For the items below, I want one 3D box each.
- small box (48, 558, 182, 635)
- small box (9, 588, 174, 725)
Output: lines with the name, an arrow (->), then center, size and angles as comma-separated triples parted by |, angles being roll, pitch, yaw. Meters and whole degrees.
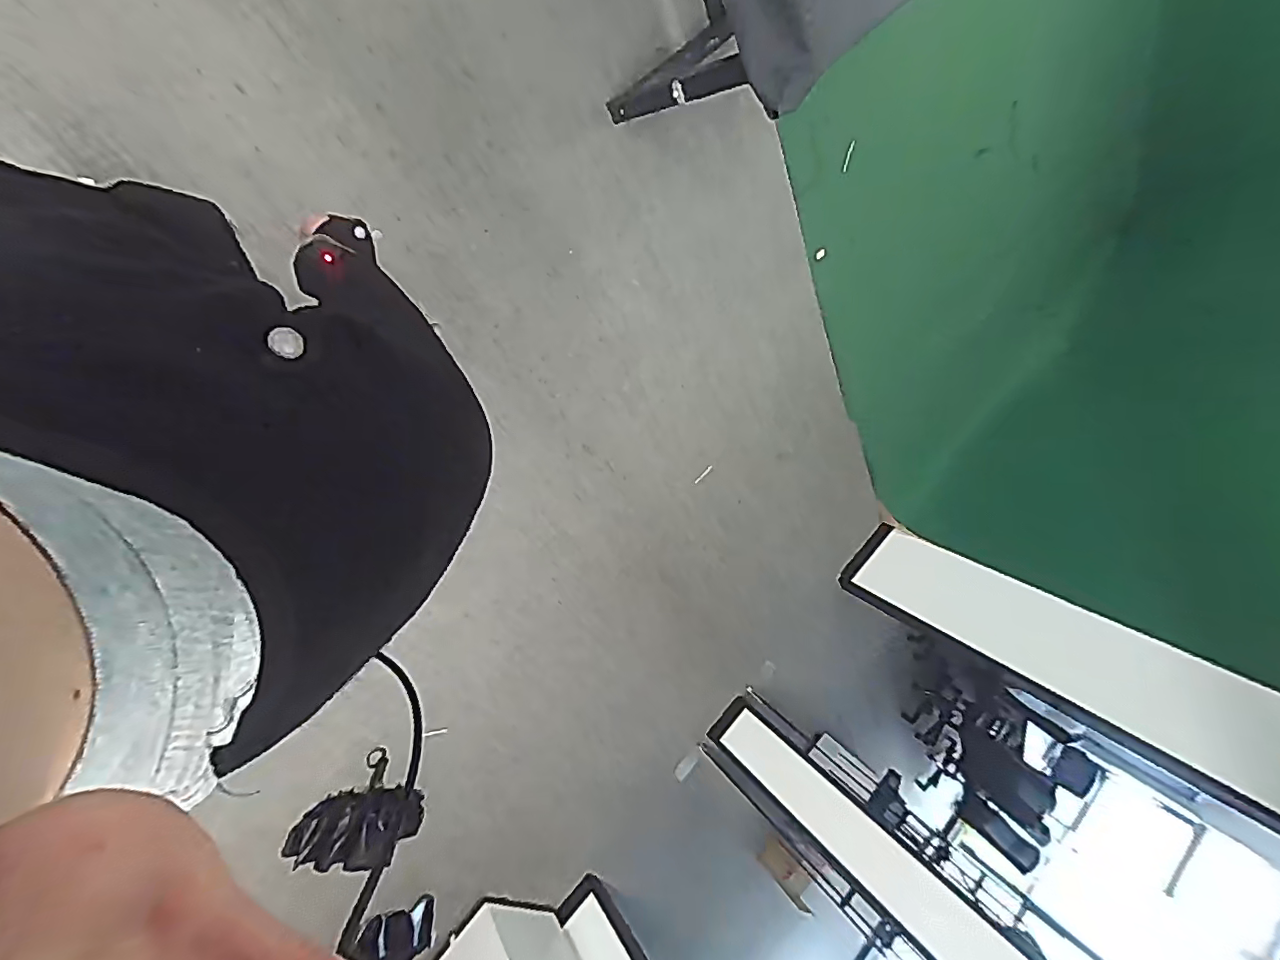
small box -> -1.172, 0.302, 1.211 | 0.168, 0.176, 0.179 | 39, 85, -41
small box -> -1.079, 0.351, 1.085 | 0.168, 0.176, 0.179 | 40, 82, -41
